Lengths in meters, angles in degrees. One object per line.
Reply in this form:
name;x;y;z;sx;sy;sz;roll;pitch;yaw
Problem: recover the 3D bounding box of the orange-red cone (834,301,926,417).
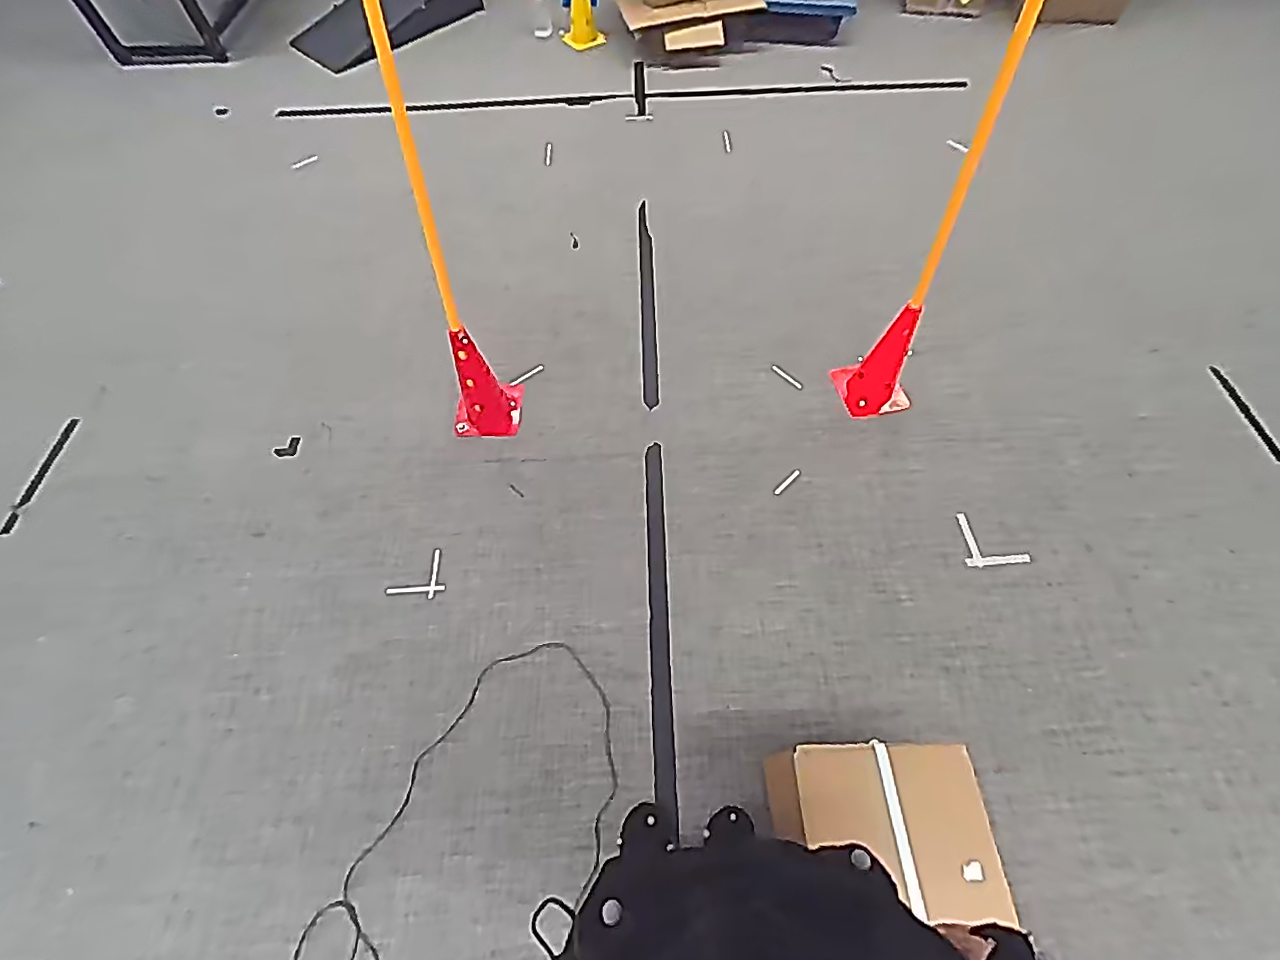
orange-red cone;0.732;-0.371;1.565;0.199;0.360;0.198;-9;62;-5
